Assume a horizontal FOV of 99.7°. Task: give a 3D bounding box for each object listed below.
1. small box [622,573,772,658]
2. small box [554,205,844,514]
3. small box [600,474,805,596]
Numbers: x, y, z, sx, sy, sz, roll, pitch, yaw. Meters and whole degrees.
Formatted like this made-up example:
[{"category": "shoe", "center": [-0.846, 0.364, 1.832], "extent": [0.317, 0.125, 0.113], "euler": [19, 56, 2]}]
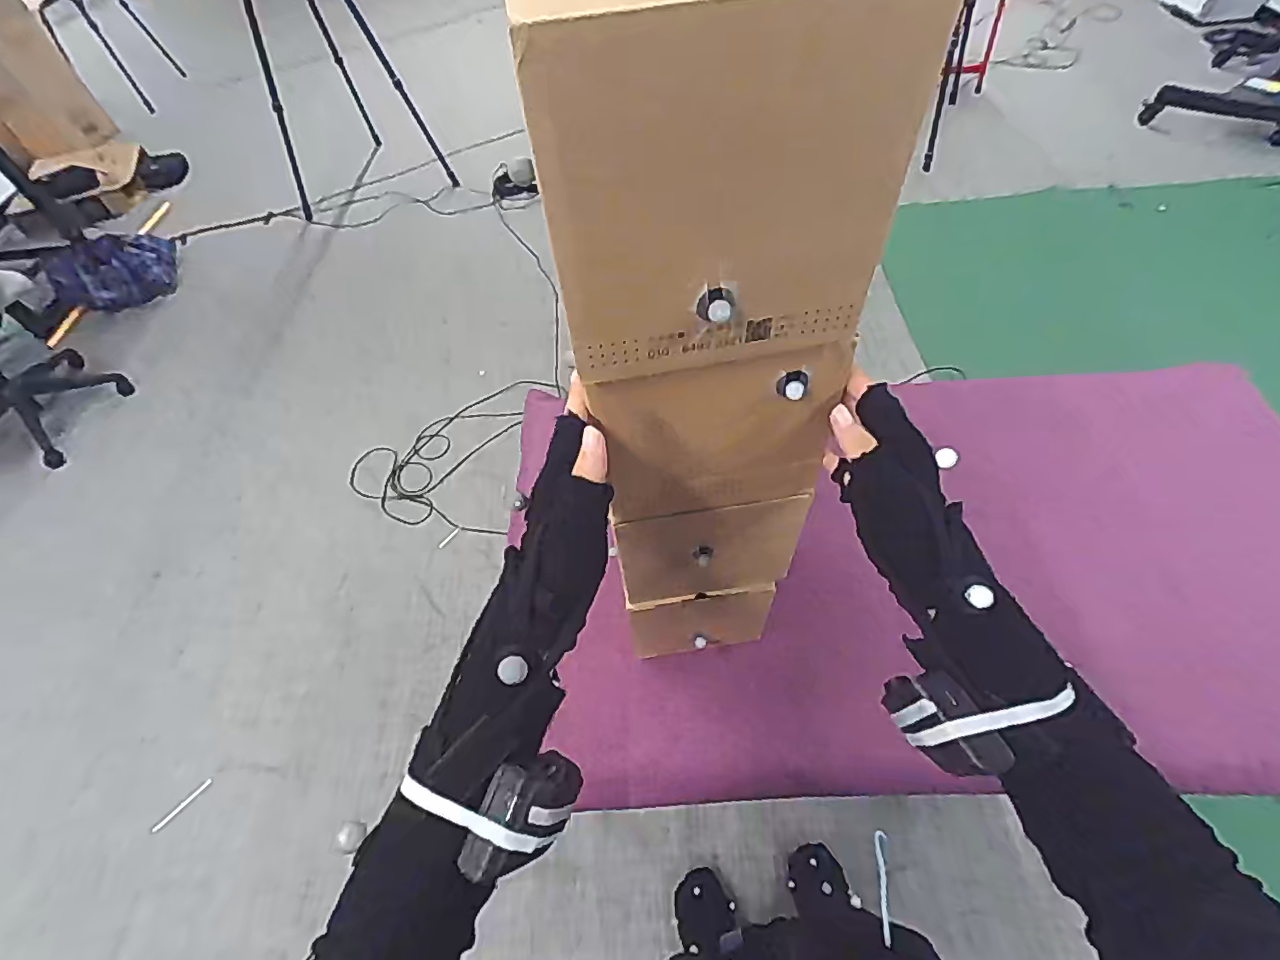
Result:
[{"category": "small box", "center": [0.059, 0.108, 0.696], "extent": [0.168, 0.176, 0.179], "euler": [-9, 54, 0]}, {"category": "small box", "center": [0.036, -0.089, 0.435], "extent": [0.179, 0.176, 0.168], "euler": [-9, 53, -2]}, {"category": "small box", "center": [0.052, 0.006, 0.563], "extent": [0.179, 0.176, 0.168], "euler": [-7, 52, 0]}]
